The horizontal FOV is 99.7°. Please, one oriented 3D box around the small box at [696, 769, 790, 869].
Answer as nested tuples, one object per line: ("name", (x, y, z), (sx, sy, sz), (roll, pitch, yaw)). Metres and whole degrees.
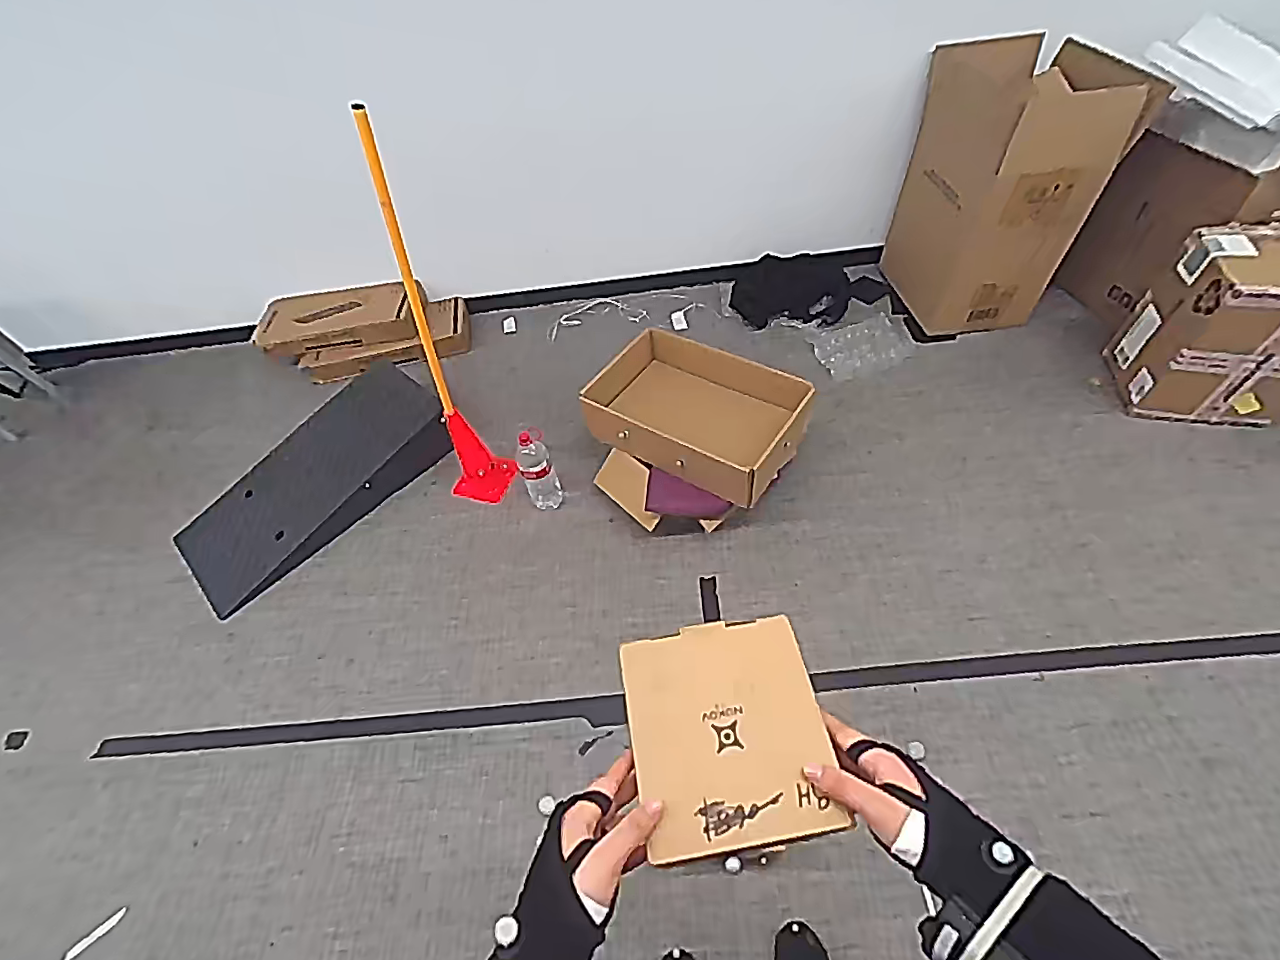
("small box", (0.219, 0.749, 1.192), (0.179, 0.176, 0.168), (-7, 50, 4))
